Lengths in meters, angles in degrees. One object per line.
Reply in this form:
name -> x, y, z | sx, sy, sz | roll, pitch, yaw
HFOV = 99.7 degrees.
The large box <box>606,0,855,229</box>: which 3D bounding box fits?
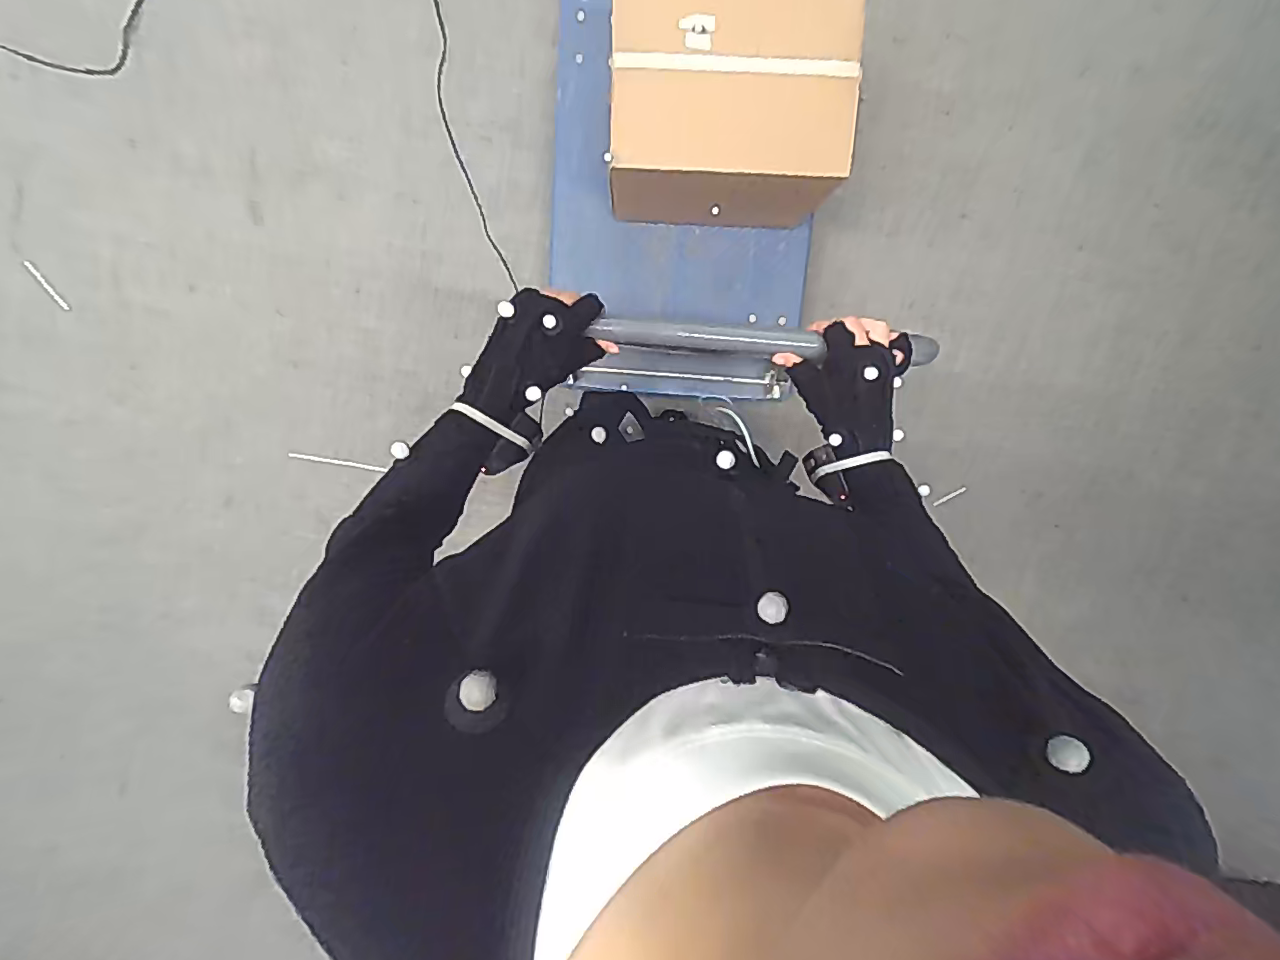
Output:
large box -> 0.146, -0.683, 1.029 | 0.408, 0.320, 0.320 | 2, 99, -1
